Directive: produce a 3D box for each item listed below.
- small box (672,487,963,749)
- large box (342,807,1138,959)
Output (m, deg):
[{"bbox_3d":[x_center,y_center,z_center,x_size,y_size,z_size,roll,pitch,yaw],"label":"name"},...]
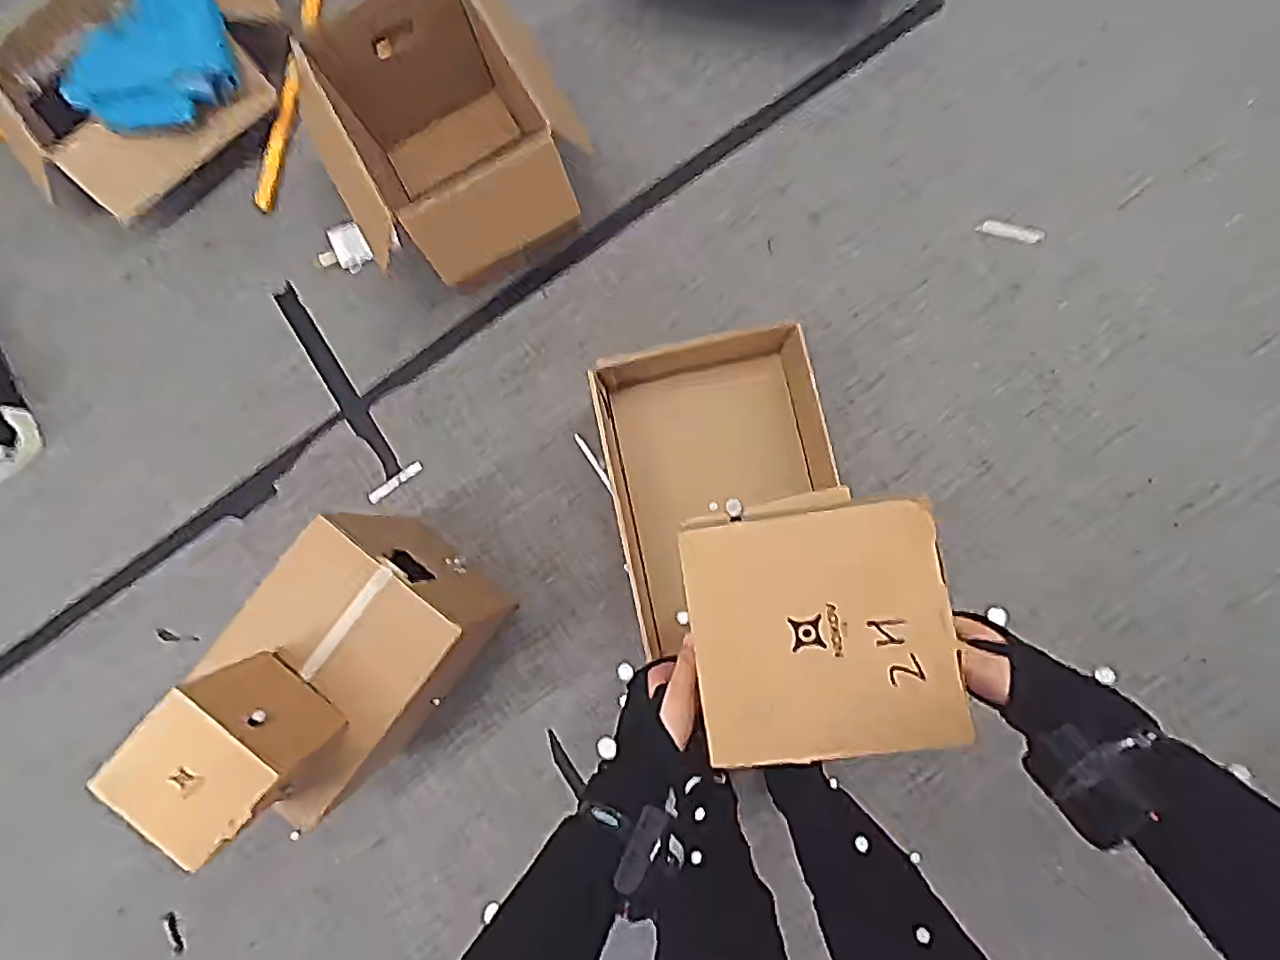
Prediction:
[{"bbox_3d":[0.130,0.101,0.453,0.179,0.176,0.168,-9,86,7],"label":"small box"},{"bbox_3d":[0.056,0.382,0.145,0.320,0.408,0.320,2,122,-11],"label":"large box"}]
